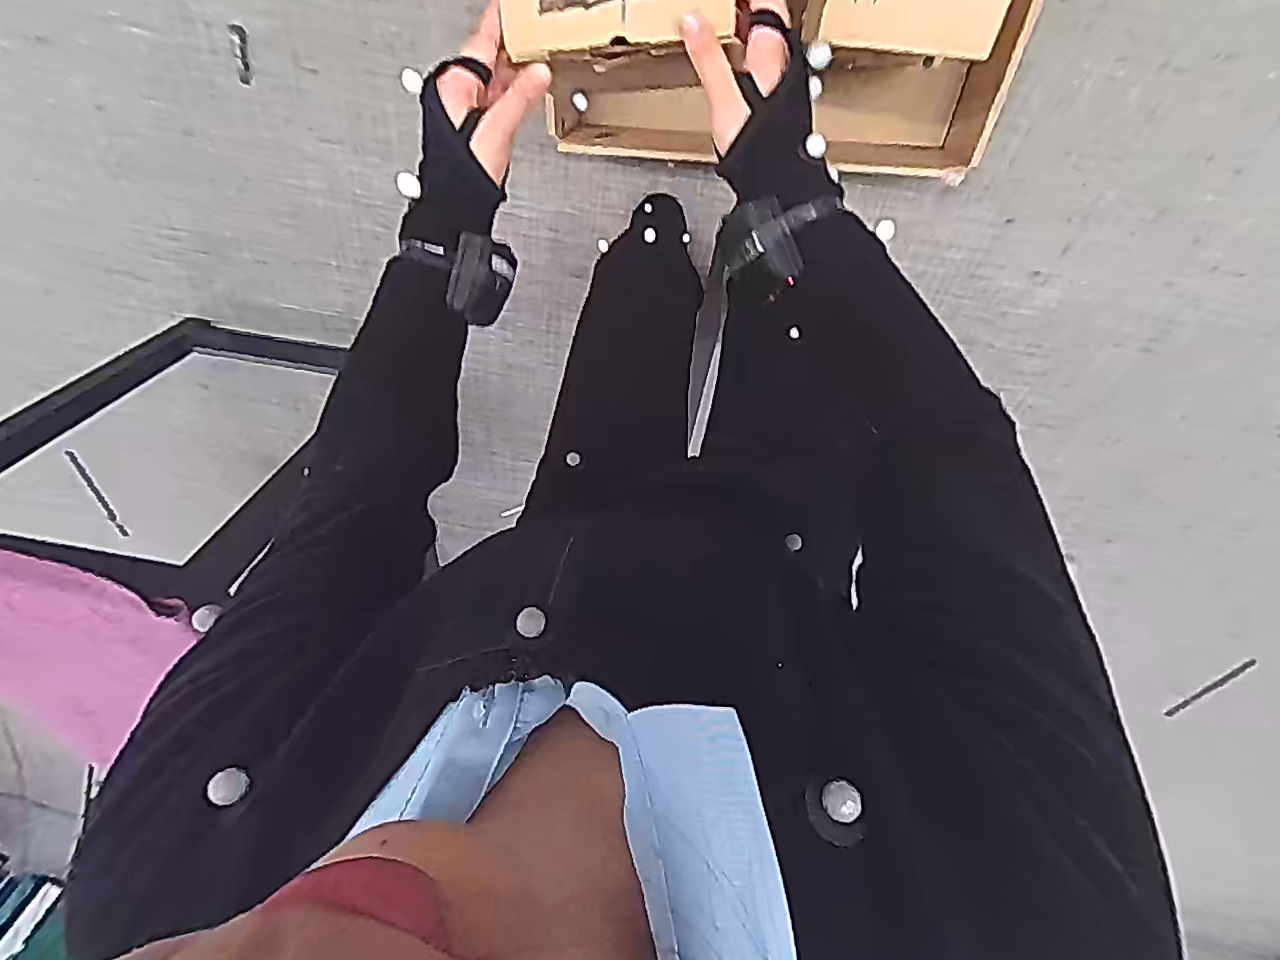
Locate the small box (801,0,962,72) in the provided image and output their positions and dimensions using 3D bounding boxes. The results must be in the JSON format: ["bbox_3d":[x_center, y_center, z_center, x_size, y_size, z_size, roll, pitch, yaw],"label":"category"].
[{"bbox_3d":[0.311,-0.641,0.692,0.168,0.176,0.179,7,131,5],"label":"small box"}]

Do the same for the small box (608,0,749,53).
[{"bbox_3d":[0.054,-0.670,0.707,0.179,0.176,0.168,5,129,4],"label":"small box"}]
